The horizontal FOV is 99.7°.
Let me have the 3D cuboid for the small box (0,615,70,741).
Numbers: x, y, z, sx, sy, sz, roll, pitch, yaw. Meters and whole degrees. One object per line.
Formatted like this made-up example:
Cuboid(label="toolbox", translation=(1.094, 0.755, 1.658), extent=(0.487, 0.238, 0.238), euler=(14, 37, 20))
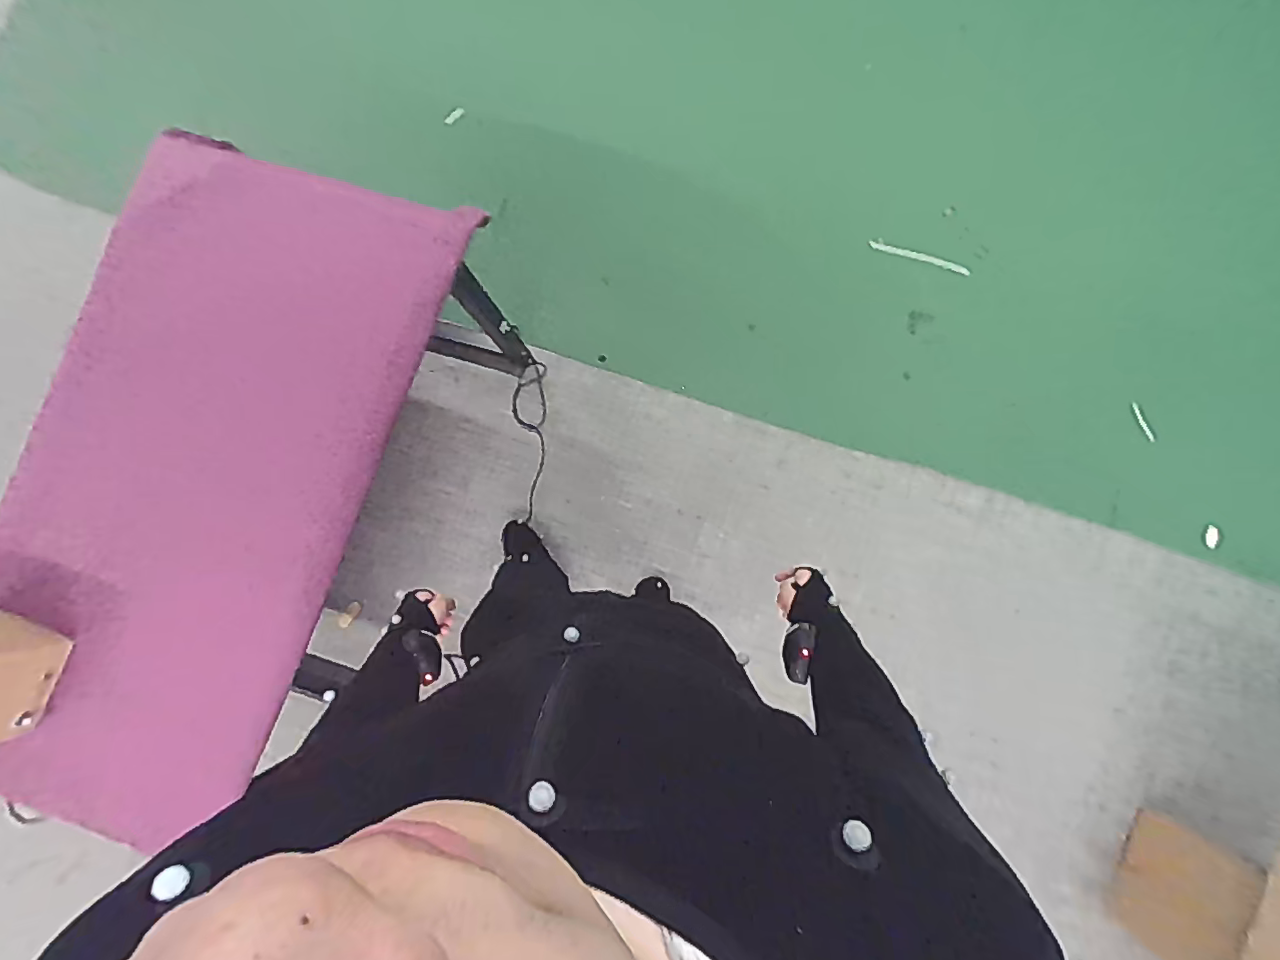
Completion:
Cuboid(label="small box", translation=(-1.094, 0.325, 0.862), extent=(0.179, 0.176, 0.168), euler=(19, 85, 3))
